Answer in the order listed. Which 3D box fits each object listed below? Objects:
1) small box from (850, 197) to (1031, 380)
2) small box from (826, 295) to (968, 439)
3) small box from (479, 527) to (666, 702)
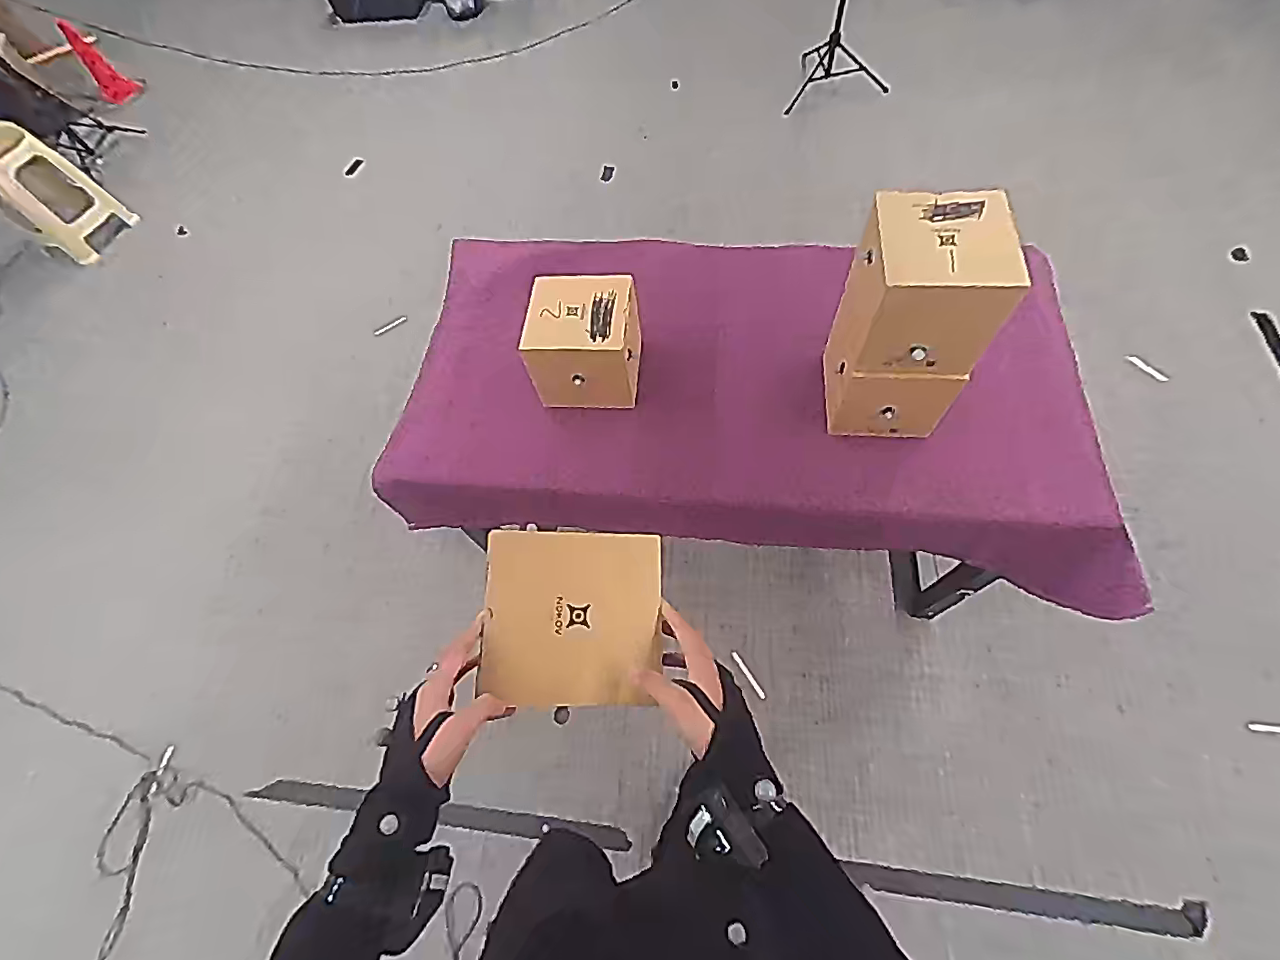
[{"bbox_3d":[0.400,-0.264,0.757,0.168,0.176,0.179,4,64,8],"label":"small box"},{"bbox_3d":[0.413,-0.182,0.899,0.168,0.176,0.179,4,64,7],"label":"small box"},{"bbox_3d":[-0.070,0.152,0.604,0.179,0.176,0.168,2,72,-6],"label":"small box"}]
